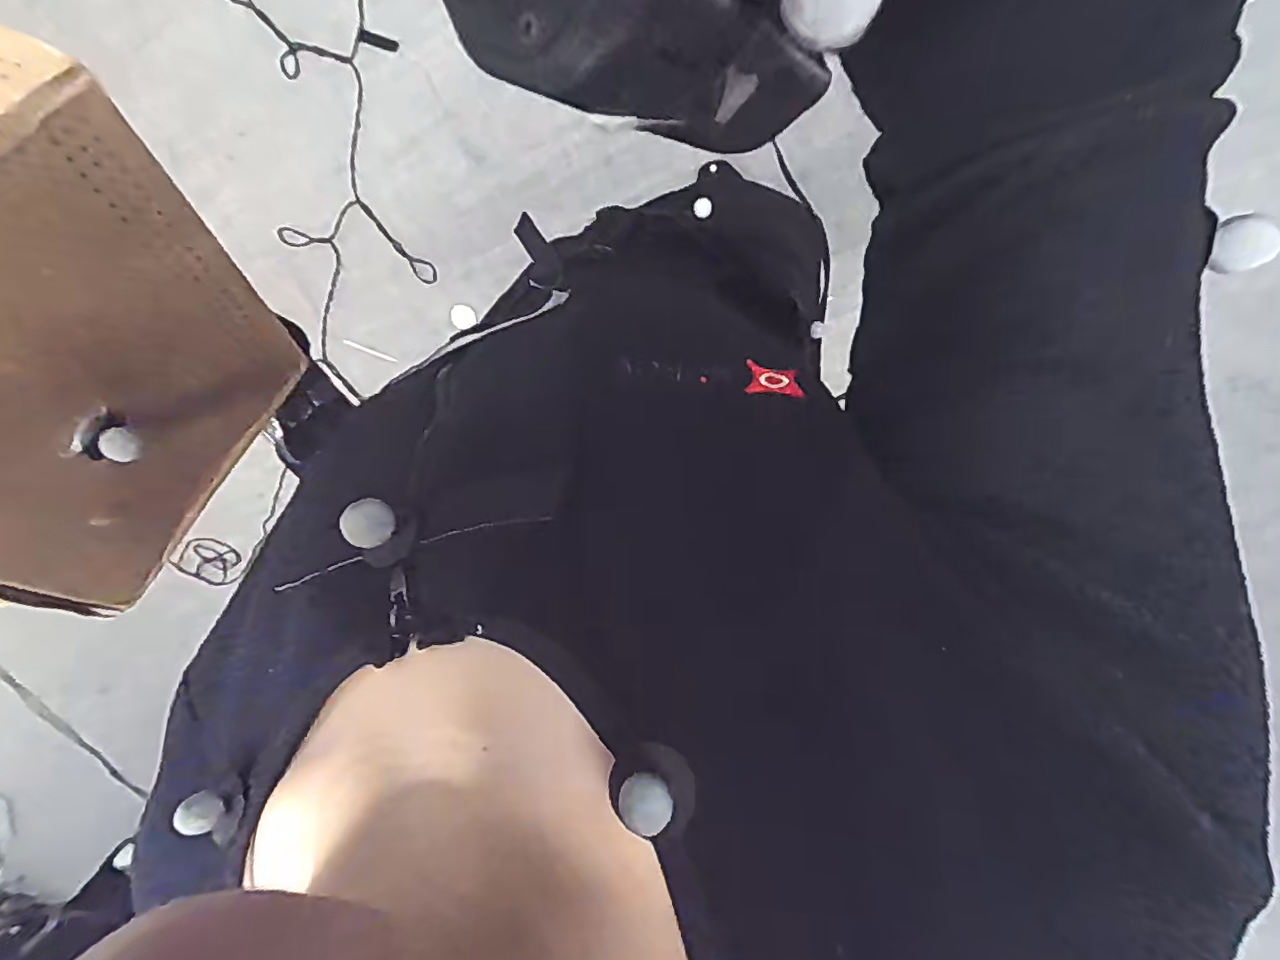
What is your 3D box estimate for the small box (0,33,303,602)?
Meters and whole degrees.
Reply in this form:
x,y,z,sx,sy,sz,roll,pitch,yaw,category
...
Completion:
x,y,z,sx,sy,sz,roll,pitch,yaw,category
-0.295,-0.067,0.234,0.168,0.176,0.179,19,157,2,small box
